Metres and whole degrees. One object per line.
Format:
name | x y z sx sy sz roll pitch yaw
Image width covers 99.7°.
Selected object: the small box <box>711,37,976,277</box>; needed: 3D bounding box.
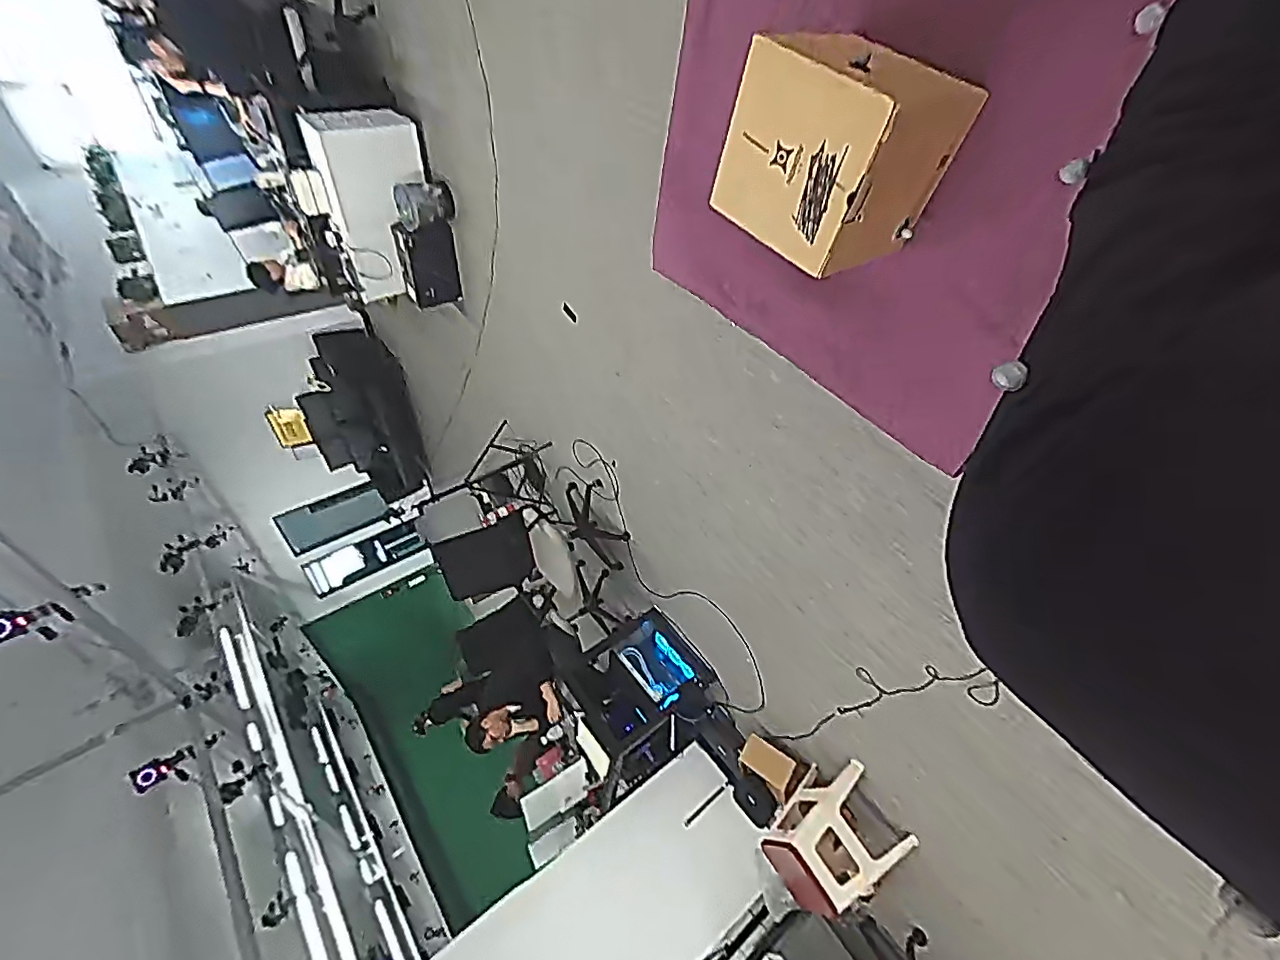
small box | 0.211 -0.353 0.585 0.179 0.176 0.168 49 147 25
